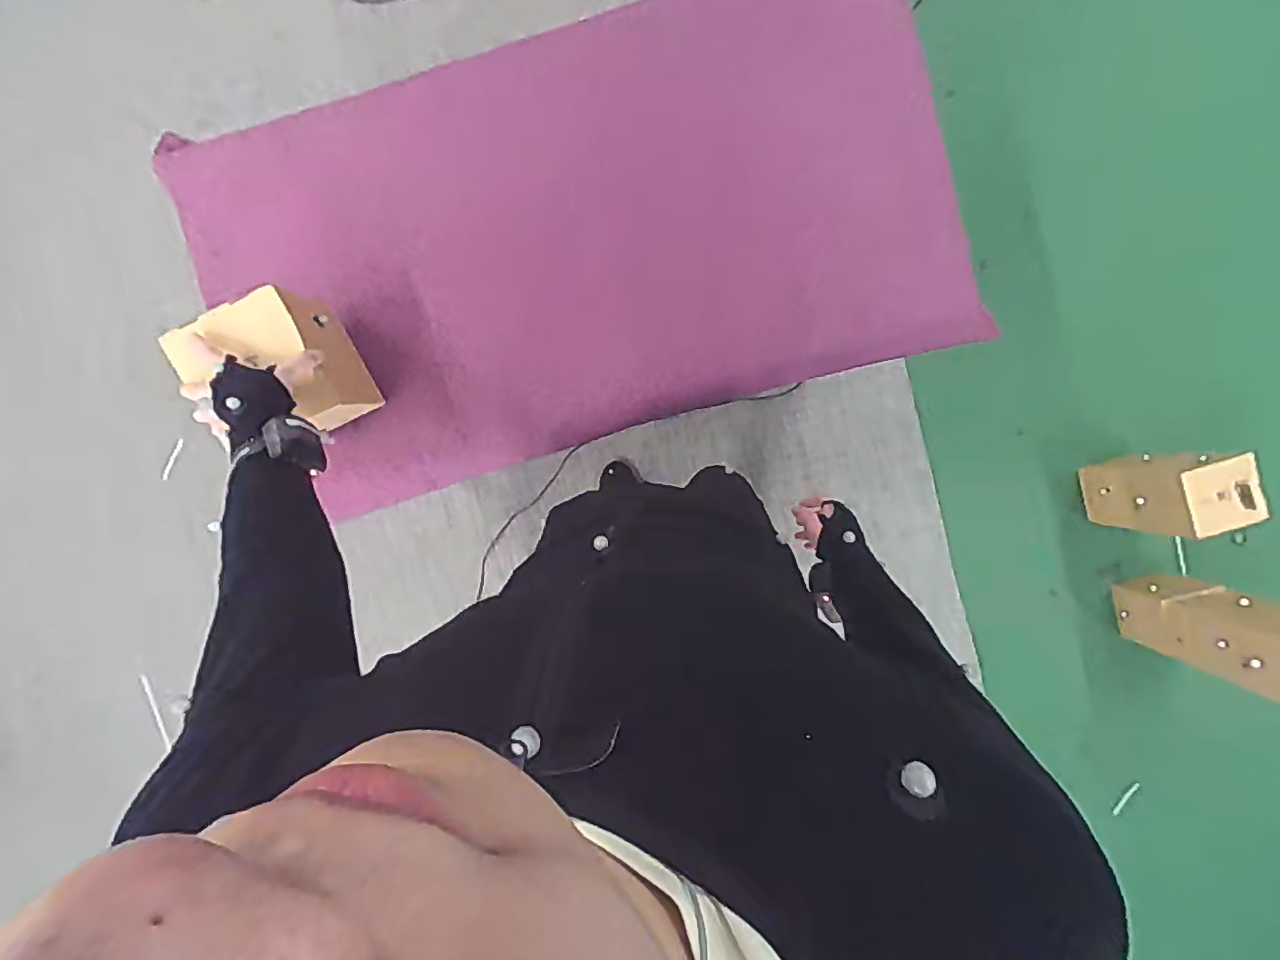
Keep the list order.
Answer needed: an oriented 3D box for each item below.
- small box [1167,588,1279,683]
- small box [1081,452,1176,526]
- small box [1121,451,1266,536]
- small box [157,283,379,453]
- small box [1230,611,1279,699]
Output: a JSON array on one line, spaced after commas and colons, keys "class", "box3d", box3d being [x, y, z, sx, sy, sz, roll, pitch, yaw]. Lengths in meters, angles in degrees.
[{"class": "small box", "box3d": [1.511, 0.387, 1.375, 0.179, 0.176, 0.168, -12, 94, 2]}, {"class": "small box", "box3d": [1.387, 0.022, 1.518, 0.179, 0.176, 0.168, -15, 93, 1]}, {"class": "small box", "box3d": [1.375, 0.027, 1.354, 0.179, 0.176, 0.168, -17, 93, 3]}, {"class": "small box", "box3d": [-0.520, -0.156, 0.787, 0.168, 0.176, 0.179, -25, 101, -1]}, {"class": "small box", "box3d": [1.503, 0.398, 1.211, 0.179, 0.176, 0.168, -11, 94, 3]}]
